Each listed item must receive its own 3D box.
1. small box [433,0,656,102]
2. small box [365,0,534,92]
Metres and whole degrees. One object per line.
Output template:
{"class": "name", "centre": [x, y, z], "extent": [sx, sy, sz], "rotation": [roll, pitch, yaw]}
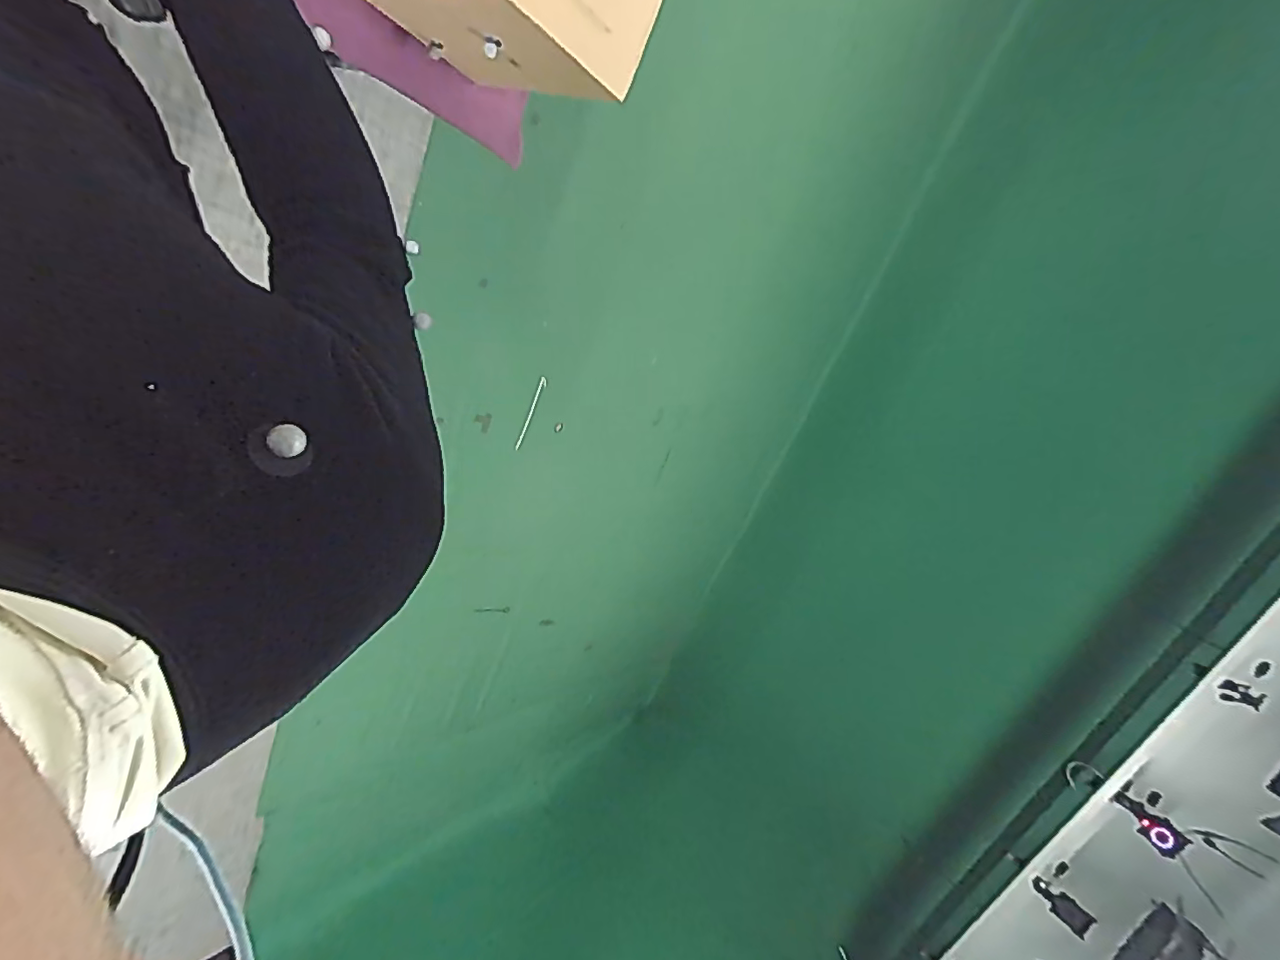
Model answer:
{"class": "small box", "centre": [-0.096, -0.548, 0.575], "extent": [0.168, 0.176, 0.179], "rotation": [6, 114, -51]}
{"class": "small box", "centre": [-0.211, -0.623, 0.663], "extent": [0.179, 0.176, 0.168], "rotation": [5, 114, -53]}
